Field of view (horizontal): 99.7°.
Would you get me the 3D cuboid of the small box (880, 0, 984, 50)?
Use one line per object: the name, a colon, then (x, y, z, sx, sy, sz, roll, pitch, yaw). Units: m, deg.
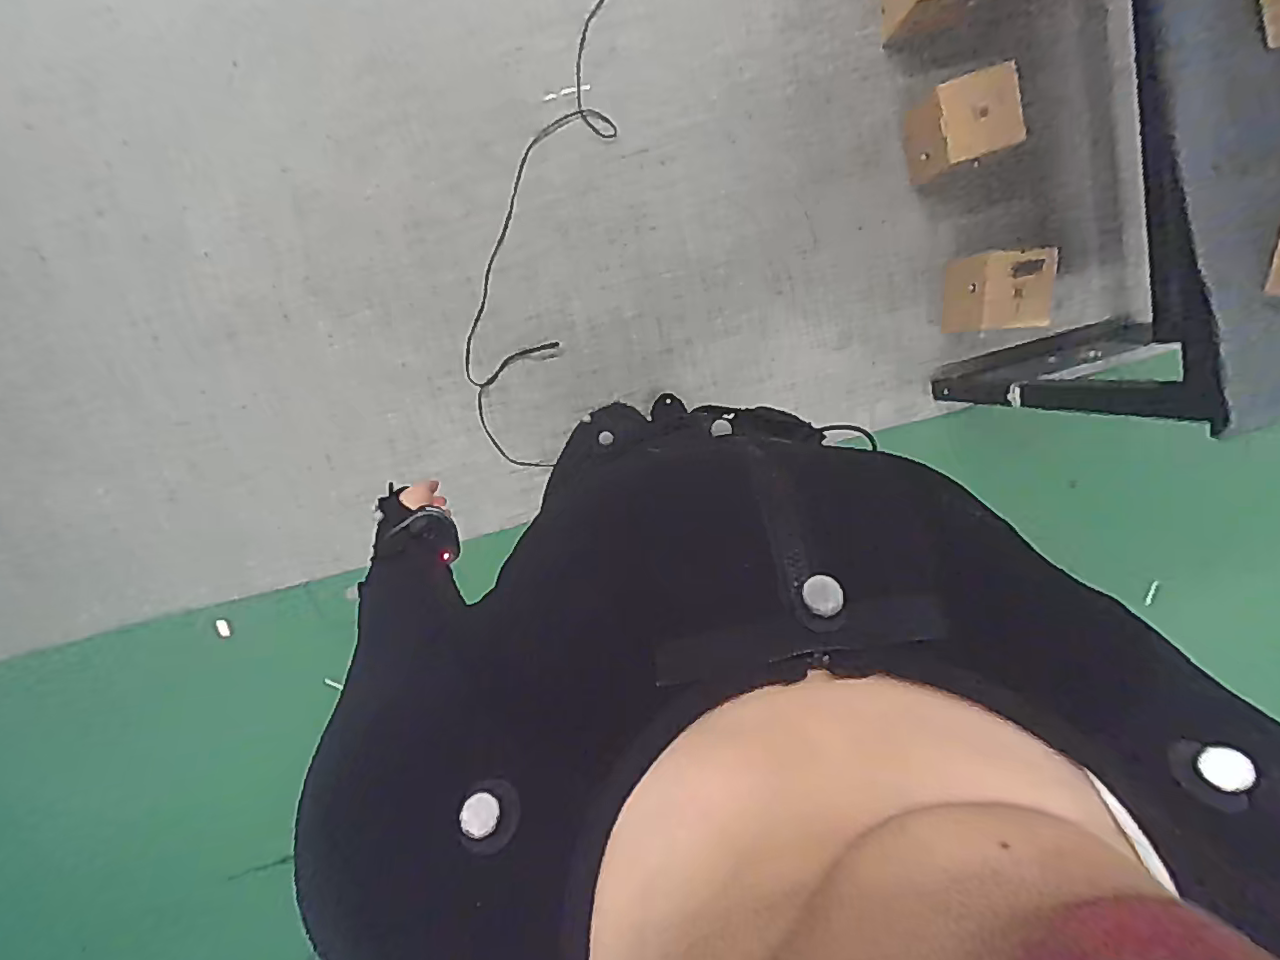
small box: (0.649, -1.099, 1.197, 0.179, 0.176, 0.168, -11, 101, 0)

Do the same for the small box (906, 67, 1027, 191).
small box: (0.743, -0.800, 1.255, 0.179, 0.176, 0.168, -18, 101, 1)

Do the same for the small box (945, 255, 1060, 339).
small box: (0.877, -0.443, 1.325, 0.168, 0.176, 0.179, -2, 102, -1)
